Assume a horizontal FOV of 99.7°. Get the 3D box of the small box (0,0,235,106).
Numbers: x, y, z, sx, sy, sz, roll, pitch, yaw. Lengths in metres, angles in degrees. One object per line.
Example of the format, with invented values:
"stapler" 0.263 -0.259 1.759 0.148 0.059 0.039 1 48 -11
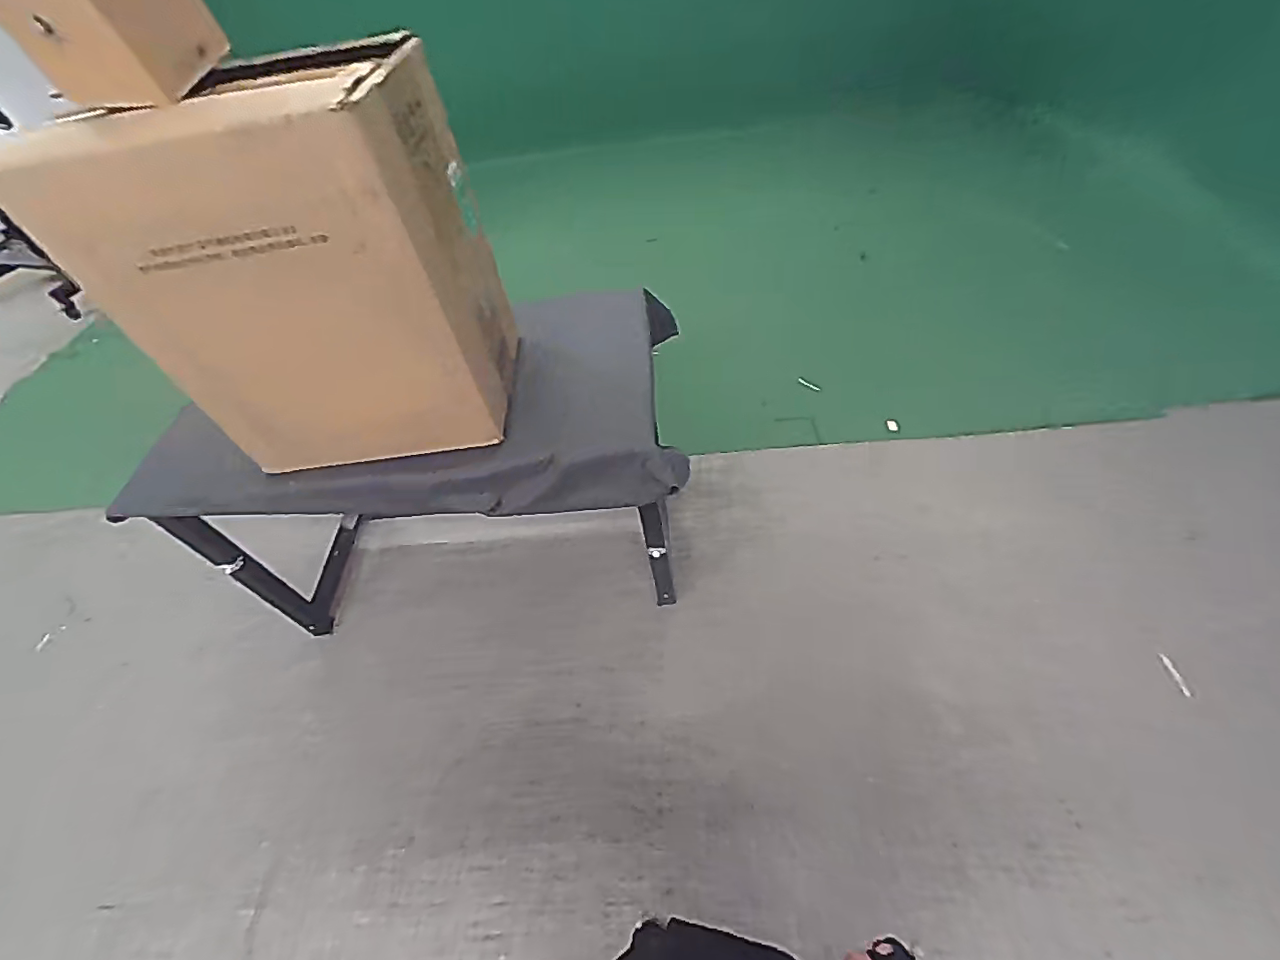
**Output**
"small box" -0.723 -0.643 0.740 0.179 0.176 0.168 5 63 11
